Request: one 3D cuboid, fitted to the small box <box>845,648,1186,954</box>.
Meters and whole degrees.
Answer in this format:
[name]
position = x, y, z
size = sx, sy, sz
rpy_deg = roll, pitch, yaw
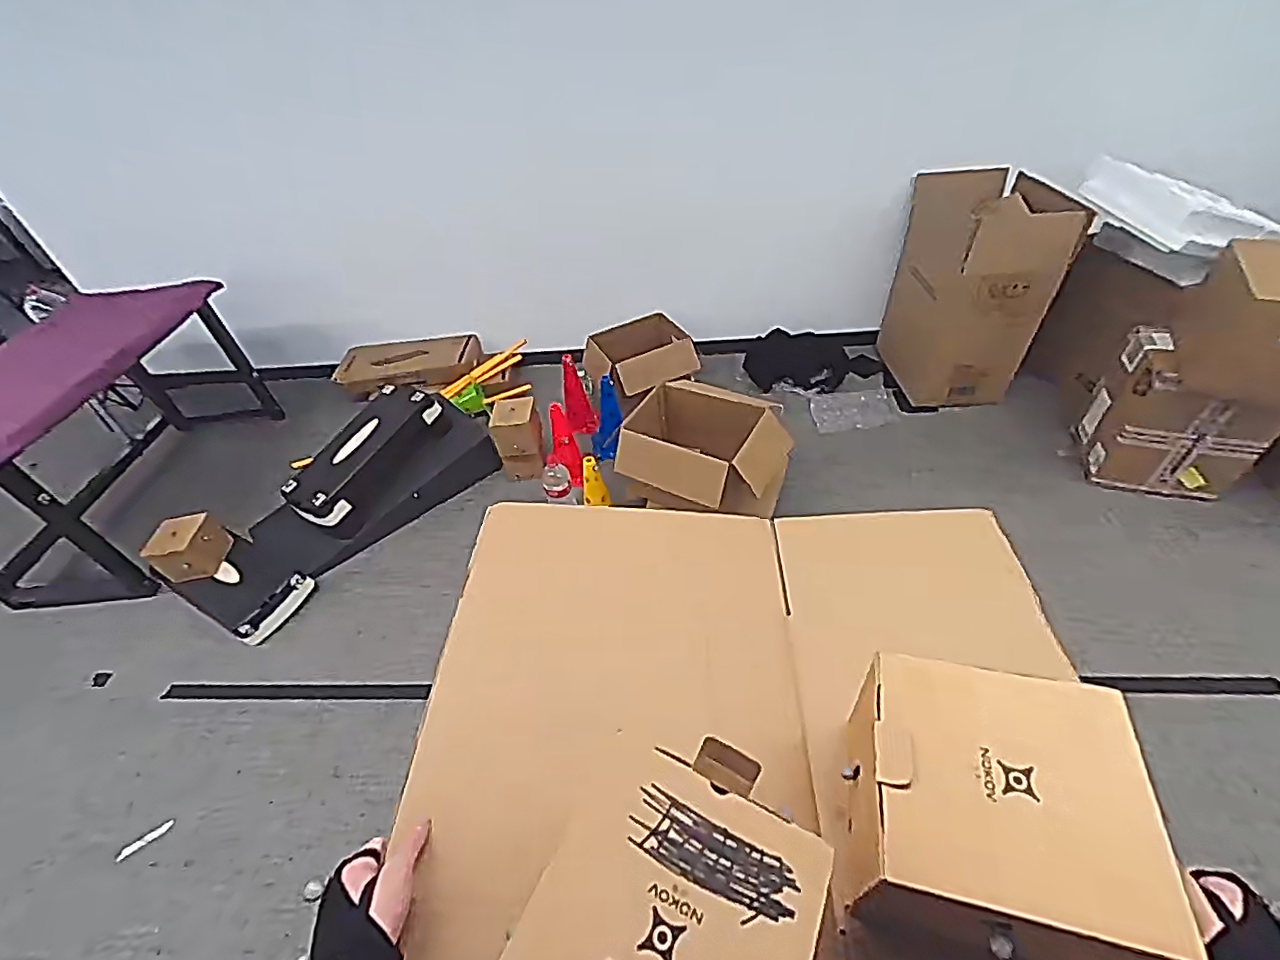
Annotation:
[small box]
position = 0.278, 0.267, 0.454
size = 0.179, 0.176, 0.168
rpy_deg = 5, 48, 16
